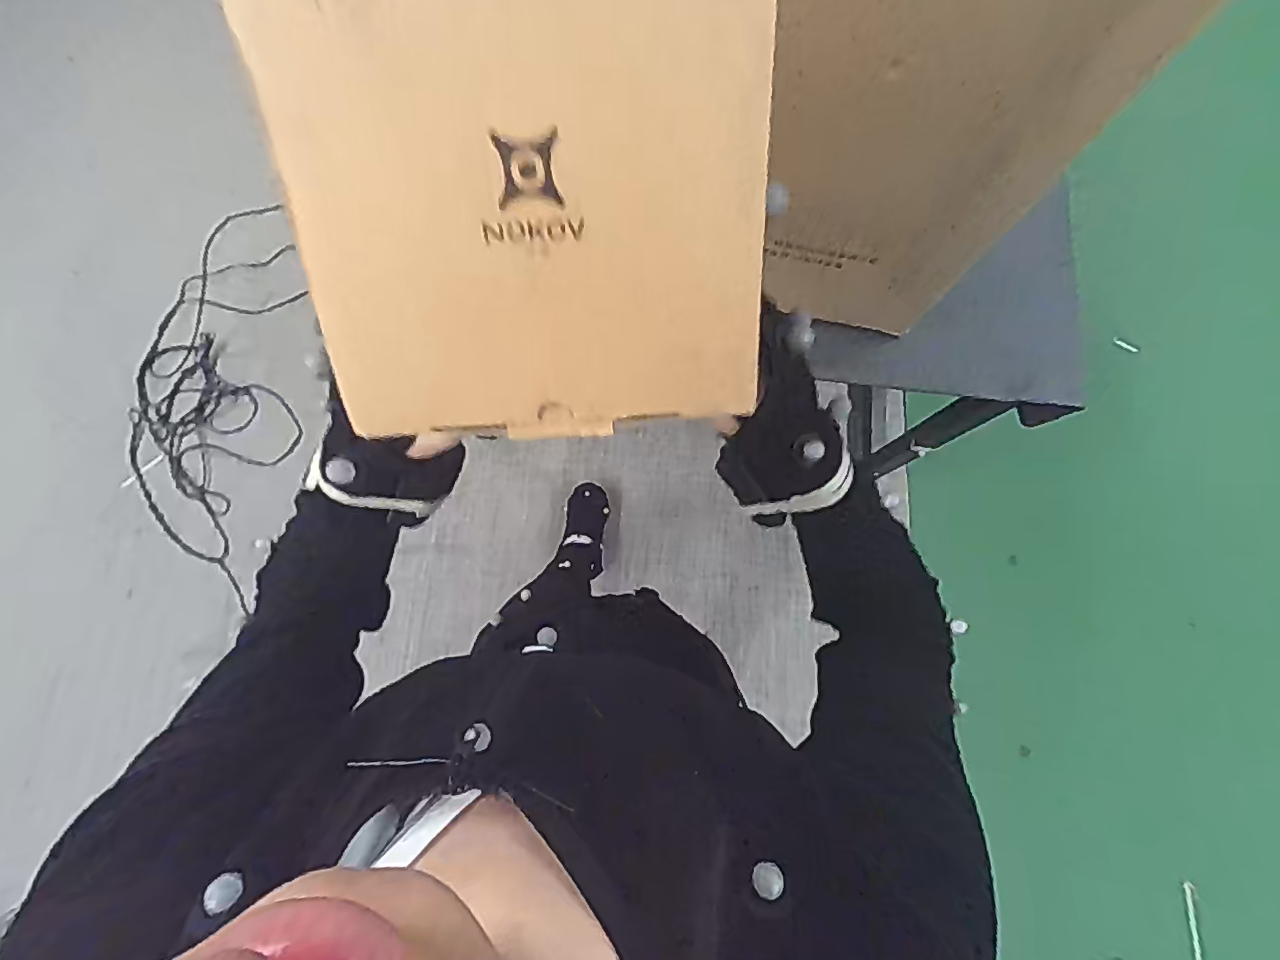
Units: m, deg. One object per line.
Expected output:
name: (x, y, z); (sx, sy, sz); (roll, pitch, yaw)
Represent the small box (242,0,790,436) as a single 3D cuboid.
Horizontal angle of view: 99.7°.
small box: (-0.038, -0.136, 0.257); (0.168, 0.176, 0.179); (-3, 119, -1)
